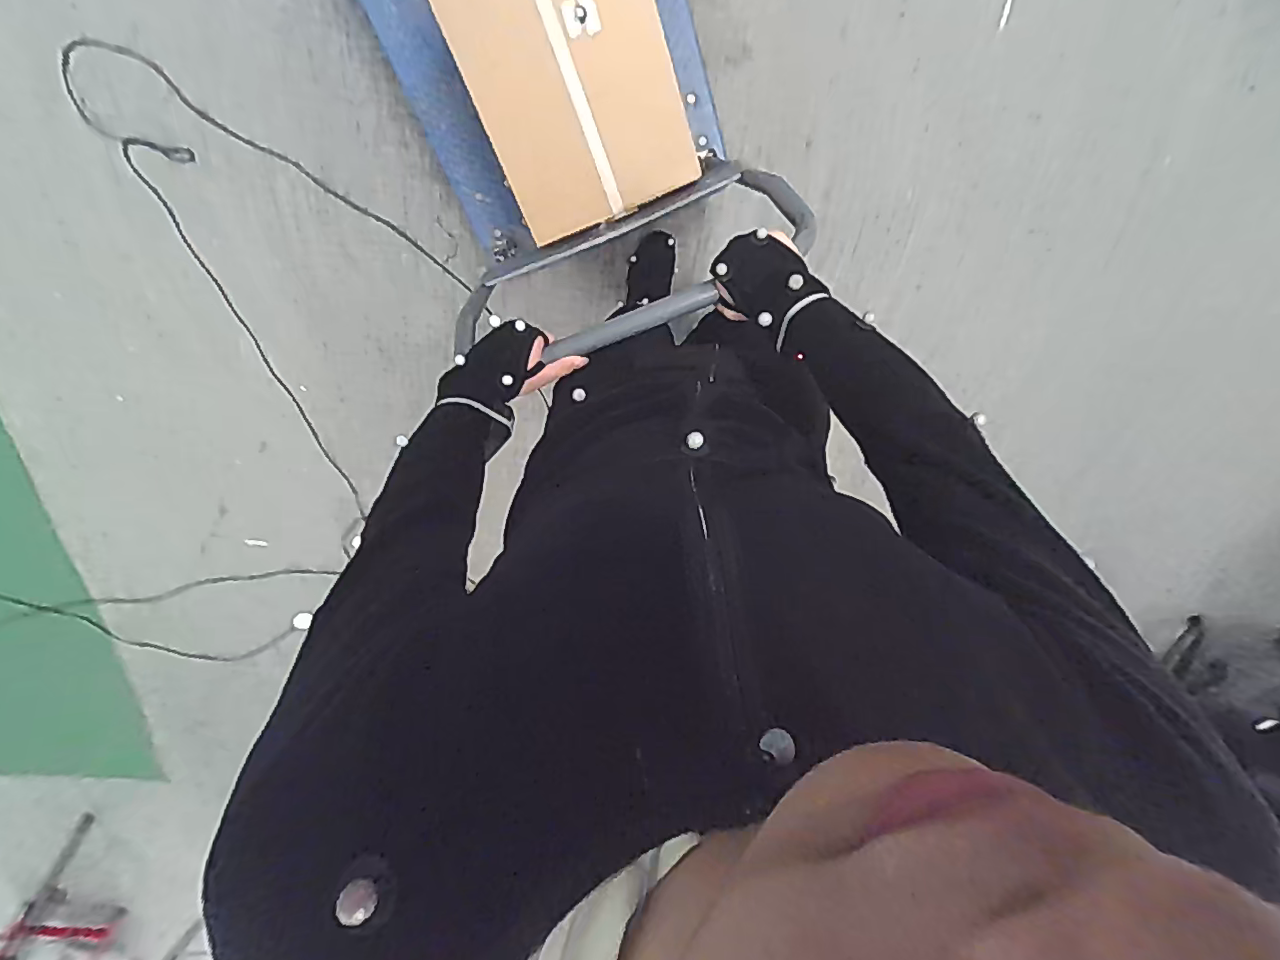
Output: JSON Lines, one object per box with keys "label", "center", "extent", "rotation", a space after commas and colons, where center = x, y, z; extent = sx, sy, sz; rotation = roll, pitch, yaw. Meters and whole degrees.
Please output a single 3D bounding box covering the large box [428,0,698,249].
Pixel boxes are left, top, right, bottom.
{"label": "large box", "center": [-0.114, -0.700, 0.999], "extent": [0.320, 0.320, 0.408], "rotation": [-20, 118, 8]}
